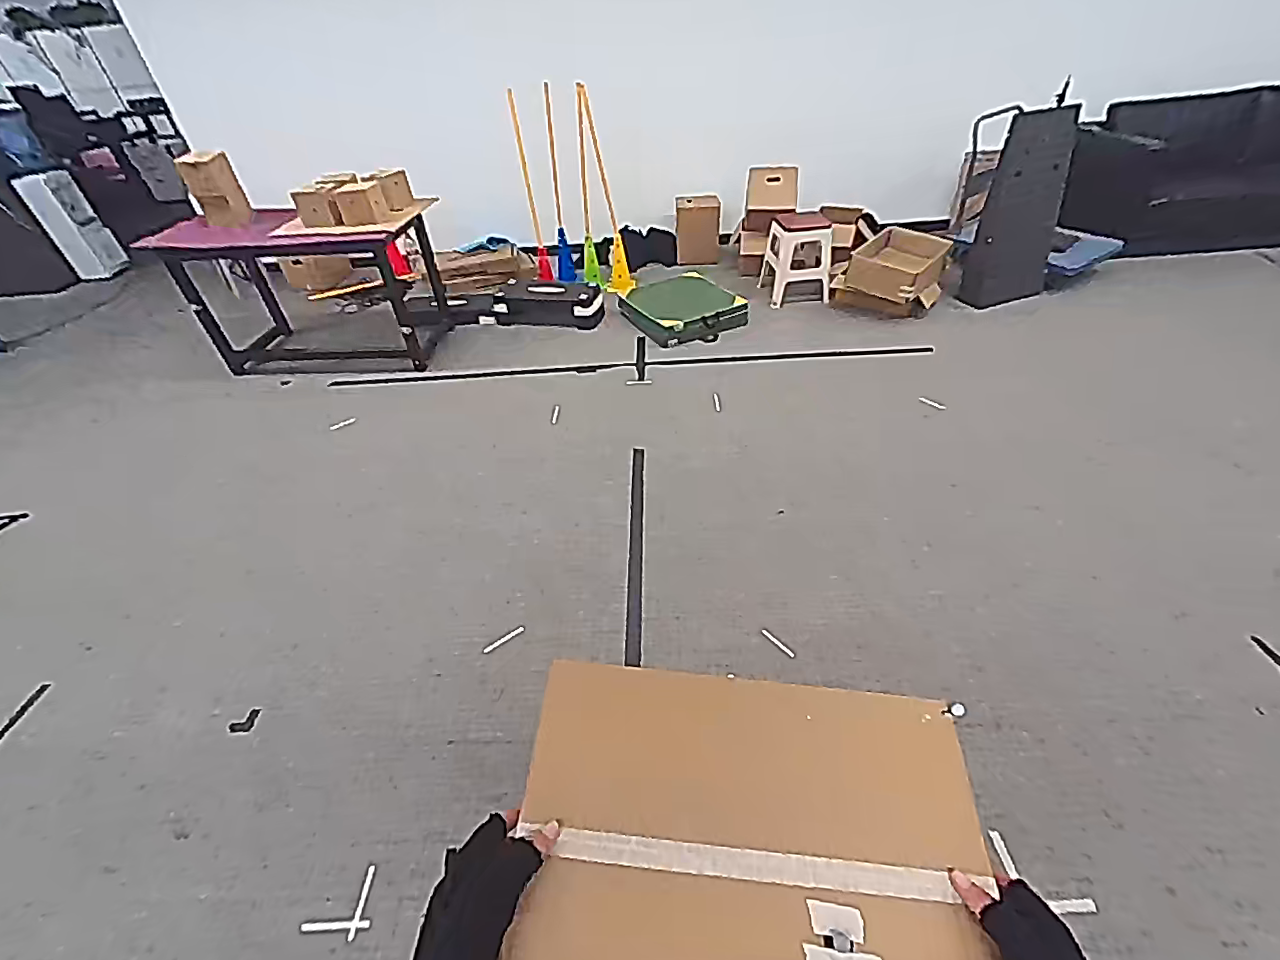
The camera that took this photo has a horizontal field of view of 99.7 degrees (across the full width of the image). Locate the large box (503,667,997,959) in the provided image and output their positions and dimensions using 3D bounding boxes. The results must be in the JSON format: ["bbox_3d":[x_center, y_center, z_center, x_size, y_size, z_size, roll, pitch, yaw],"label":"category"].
[{"bbox_3d":[0.091,0.427,0.590,0.408,0.320,0.320,5,51,3],"label":"large box"}]
